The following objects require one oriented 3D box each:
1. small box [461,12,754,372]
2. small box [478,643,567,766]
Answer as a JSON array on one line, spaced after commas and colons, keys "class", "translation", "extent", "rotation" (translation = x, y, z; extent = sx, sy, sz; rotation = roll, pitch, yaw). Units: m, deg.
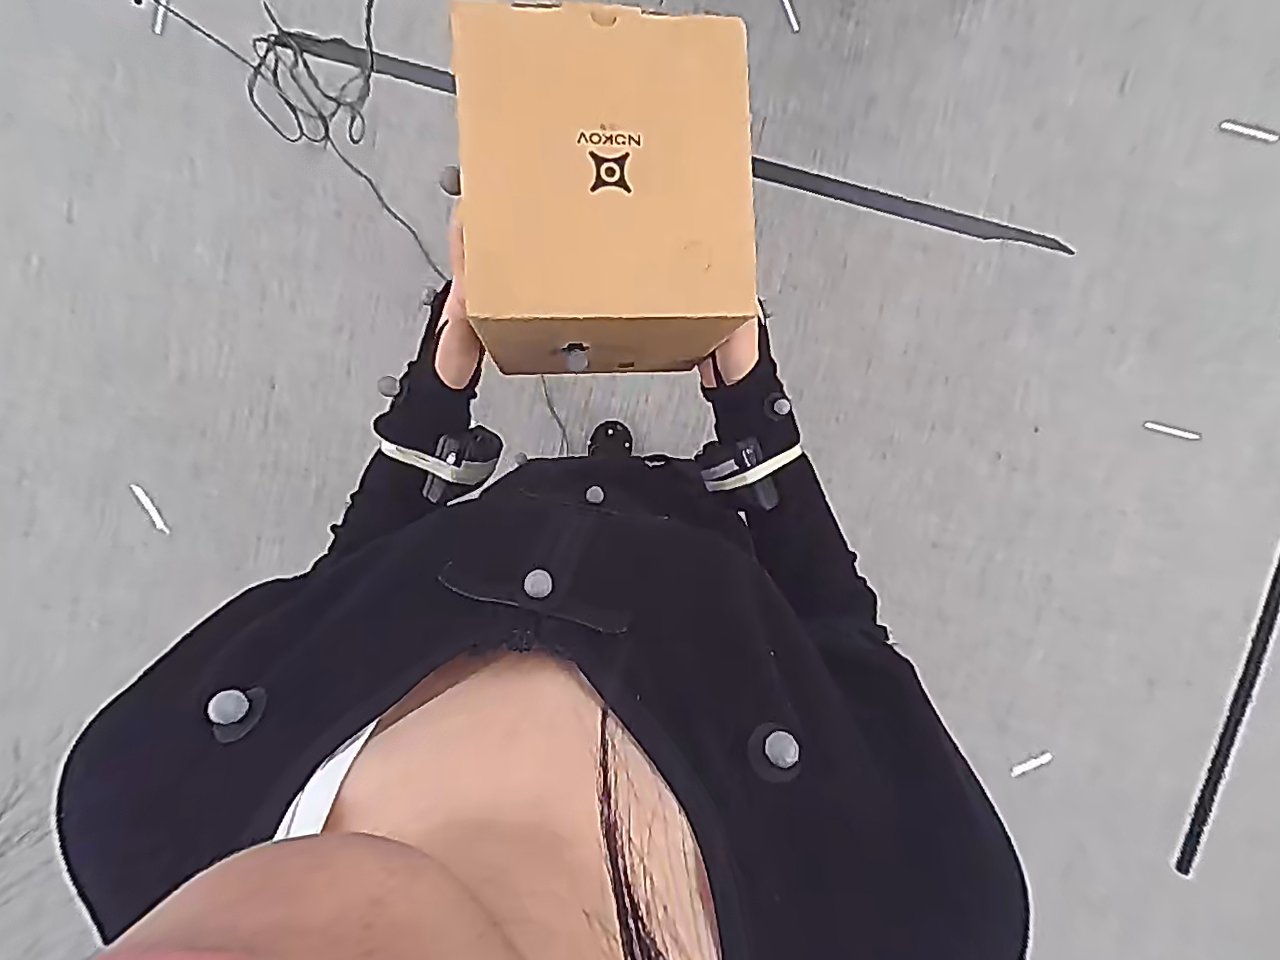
[{"class": "small box", "translation": [-0.026, -0.177, 0.390], "extent": [0.168, 0.176, 0.179], "rotation": [-3, 89, -8]}, {"class": "small box", "translation": [-0.256, 0.473, 1.151], "extent": [0.168, 0.176, 0.179], "rotation": [11, 93, -1]}]
